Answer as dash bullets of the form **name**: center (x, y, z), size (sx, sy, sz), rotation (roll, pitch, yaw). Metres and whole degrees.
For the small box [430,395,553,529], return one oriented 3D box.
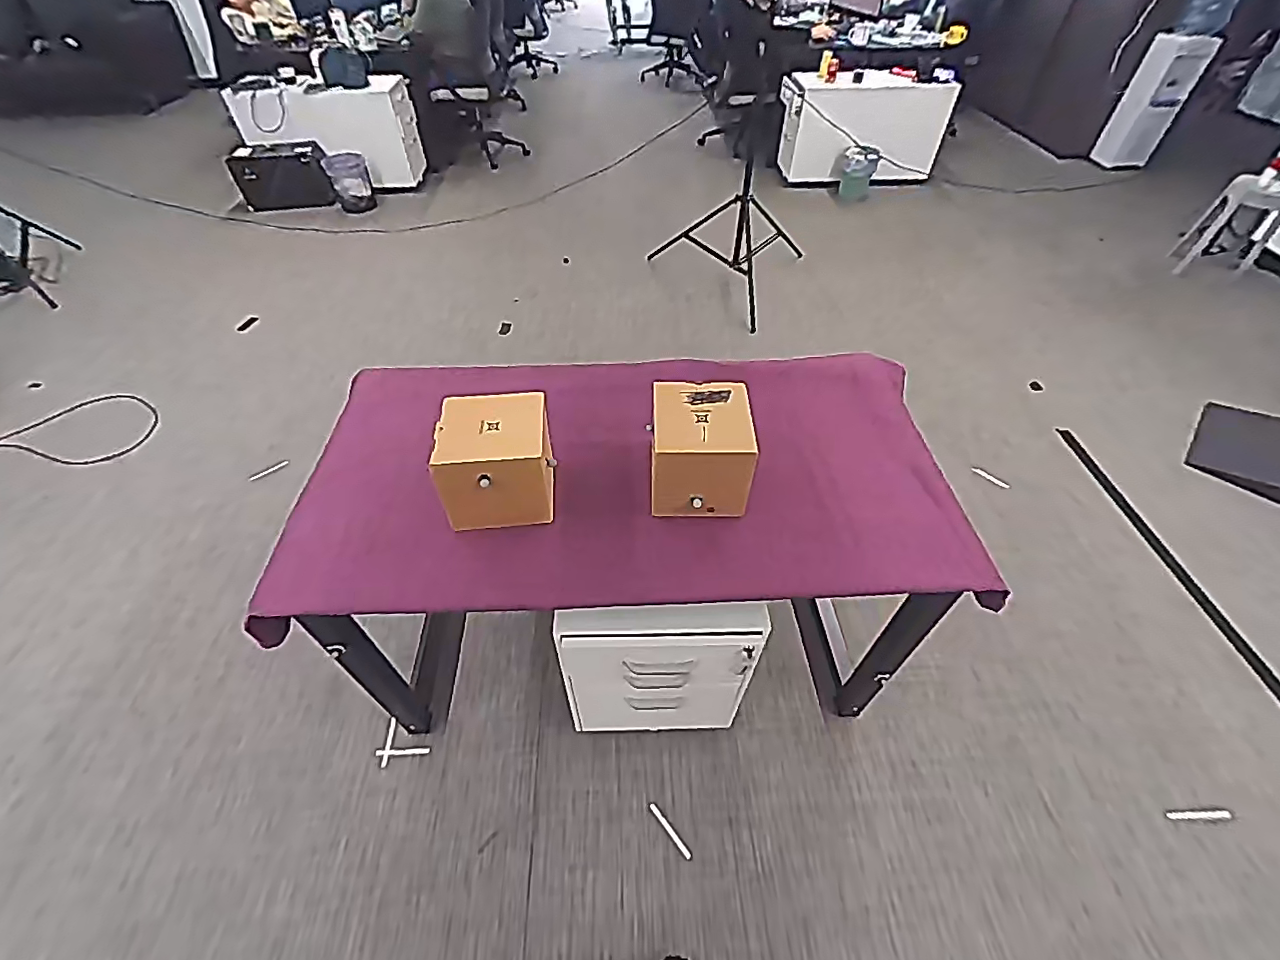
- **small box**: center (-0.248, -0.030, 0.954), size (0.179, 0.176, 0.168), rotation (-5, 48, -4)

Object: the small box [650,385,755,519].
- **small box**: center (0.103, -0.051, 0.972), size (0.168, 0.176, 0.179), rotation (0, 49, 0)
